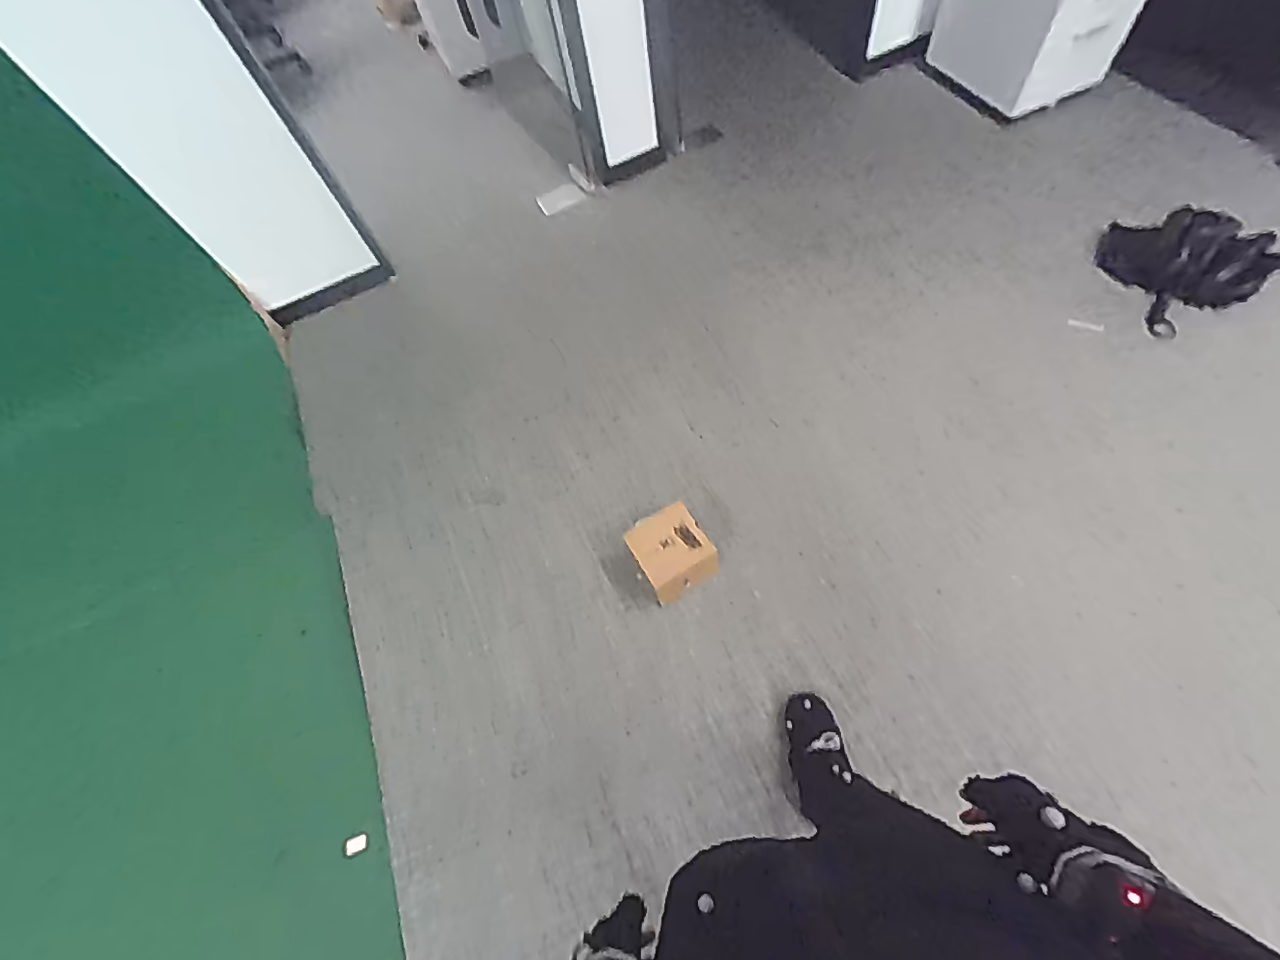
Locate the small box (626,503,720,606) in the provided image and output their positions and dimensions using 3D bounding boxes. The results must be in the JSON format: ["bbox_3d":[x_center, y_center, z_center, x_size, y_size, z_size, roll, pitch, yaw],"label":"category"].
[{"bbox_3d":[0.086,0.194,1.381,0.179,0.176,0.168,-33,62,-10],"label":"small box"}]
